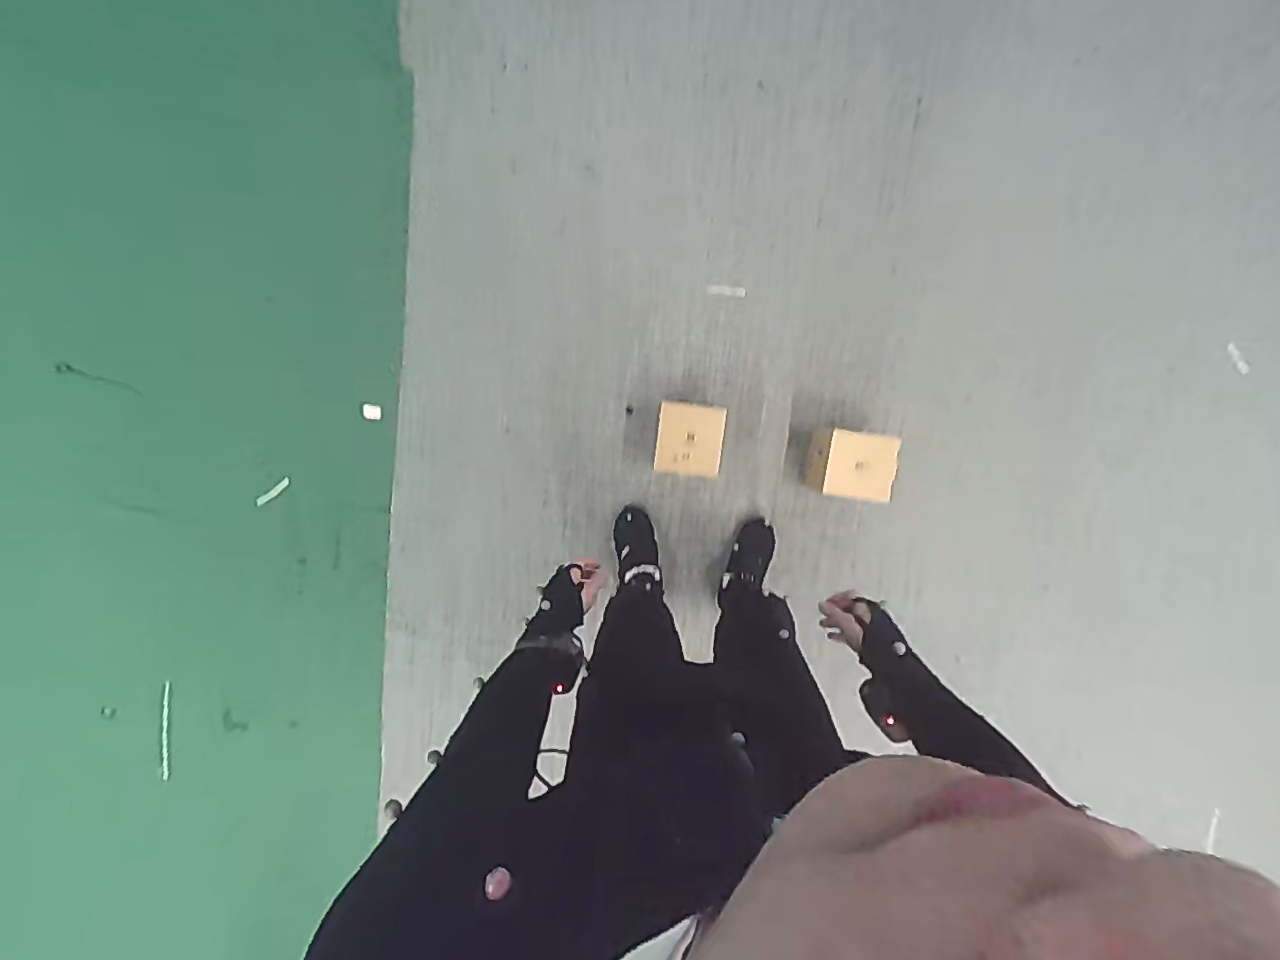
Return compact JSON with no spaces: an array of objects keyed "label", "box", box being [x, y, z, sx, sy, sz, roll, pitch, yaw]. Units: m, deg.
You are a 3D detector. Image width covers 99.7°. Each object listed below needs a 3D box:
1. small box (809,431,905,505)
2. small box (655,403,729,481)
[{"label":"small box","box":[0.560,-0.035,1.420,0.179,0.176,0.168,8,96,-1]},{"label":"small box","box":[0.131,-0.101,1.420,0.168,0.176,0.179,8,95,1]}]
